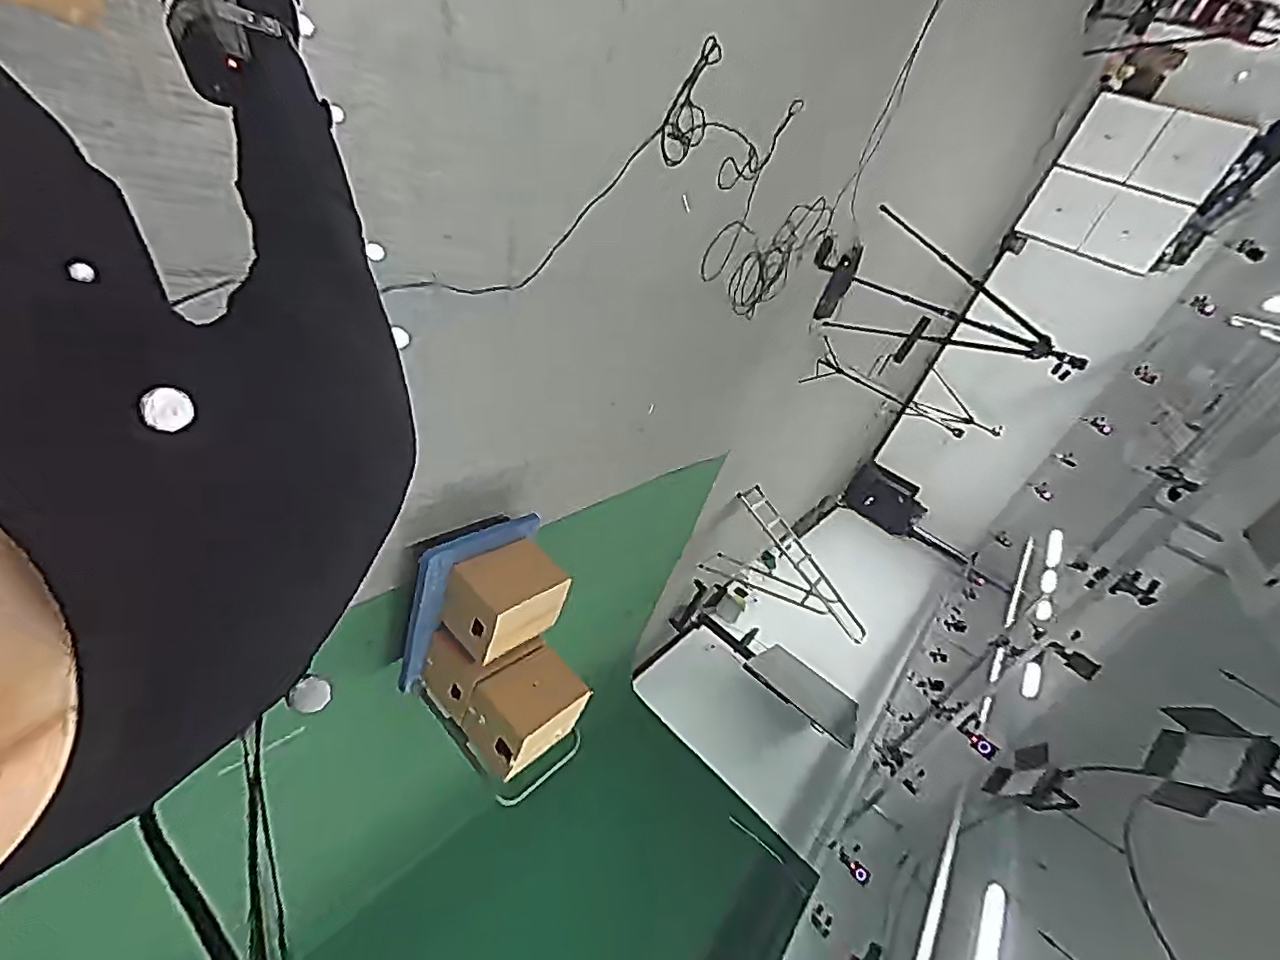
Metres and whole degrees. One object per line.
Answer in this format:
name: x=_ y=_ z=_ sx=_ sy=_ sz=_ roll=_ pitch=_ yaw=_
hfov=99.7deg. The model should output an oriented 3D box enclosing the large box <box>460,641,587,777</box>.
large box: x=-0.513 y=0.985 z=2.375 sx=0.408 sy=0.320 sz=0.320 roll=-18 pitch=141 yaw=-53
